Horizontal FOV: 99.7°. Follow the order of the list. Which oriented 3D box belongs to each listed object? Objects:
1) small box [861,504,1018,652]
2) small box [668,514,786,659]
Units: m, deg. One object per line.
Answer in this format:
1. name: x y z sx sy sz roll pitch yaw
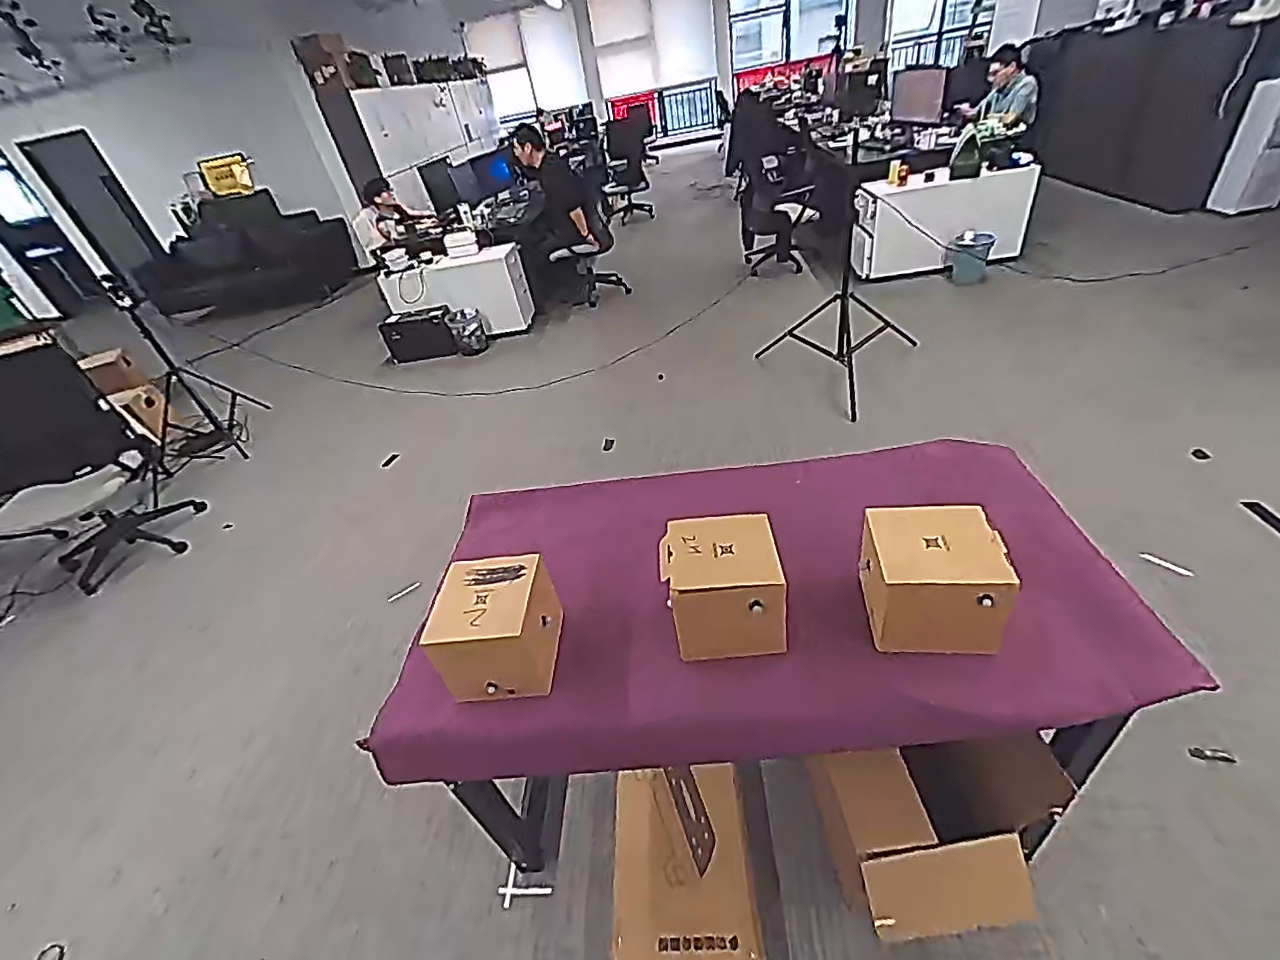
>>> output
1. small box: 0.457 0.157 0.862 0.179 0.176 0.168 -3 38 12
2. small box: 0.144 0.181 0.916 0.179 0.176 0.168 -7 35 6
